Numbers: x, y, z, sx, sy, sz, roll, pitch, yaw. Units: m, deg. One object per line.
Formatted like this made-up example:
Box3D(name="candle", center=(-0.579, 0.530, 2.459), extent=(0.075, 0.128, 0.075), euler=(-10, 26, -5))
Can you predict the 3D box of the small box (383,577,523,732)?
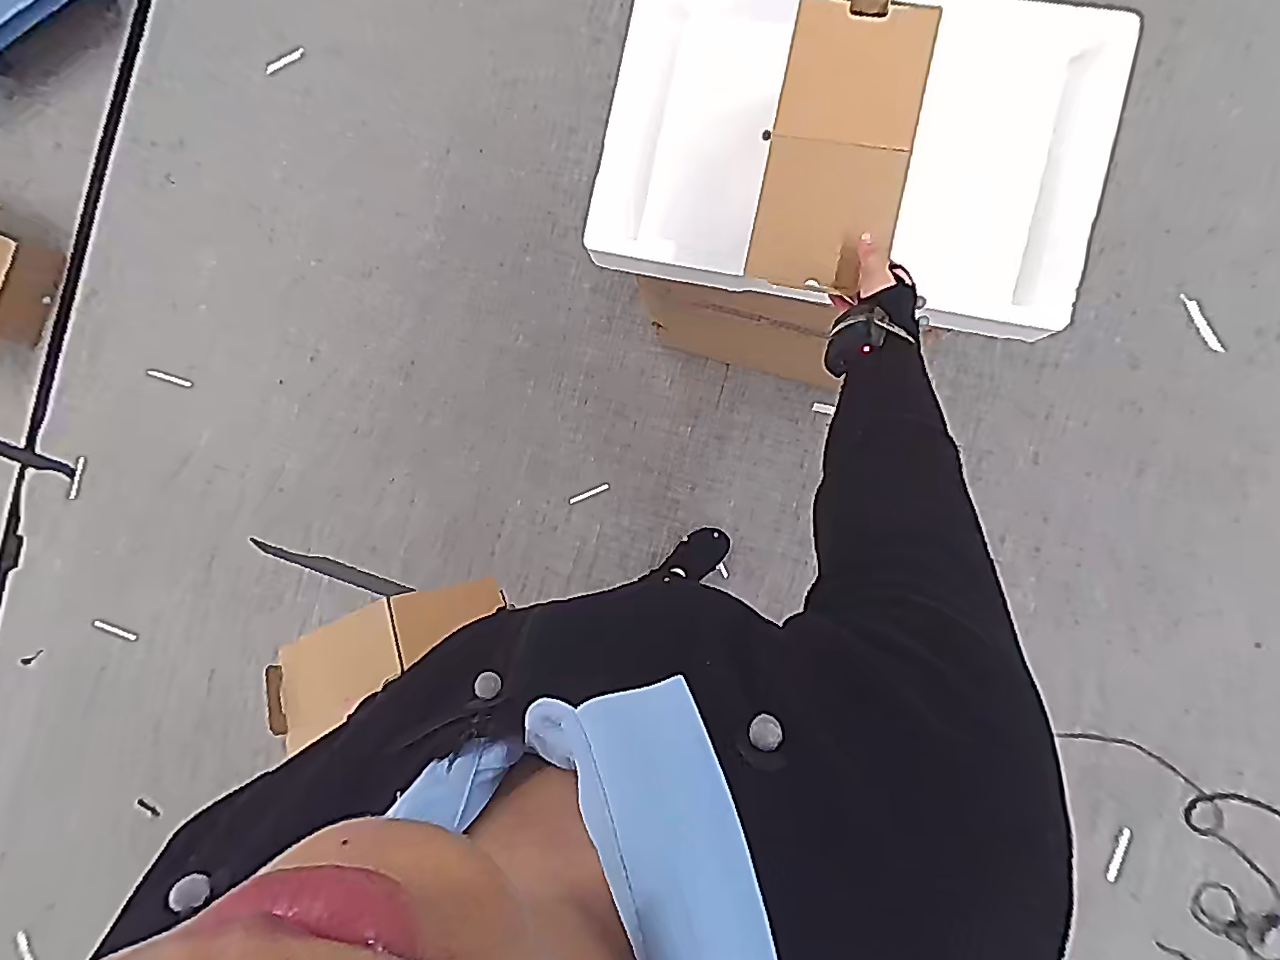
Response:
Box3D(name="small box", center=(-0.312, 0.283, 0.877), extent=(0.179, 0.176, 0.168), euler=(-7, 56, -33))
